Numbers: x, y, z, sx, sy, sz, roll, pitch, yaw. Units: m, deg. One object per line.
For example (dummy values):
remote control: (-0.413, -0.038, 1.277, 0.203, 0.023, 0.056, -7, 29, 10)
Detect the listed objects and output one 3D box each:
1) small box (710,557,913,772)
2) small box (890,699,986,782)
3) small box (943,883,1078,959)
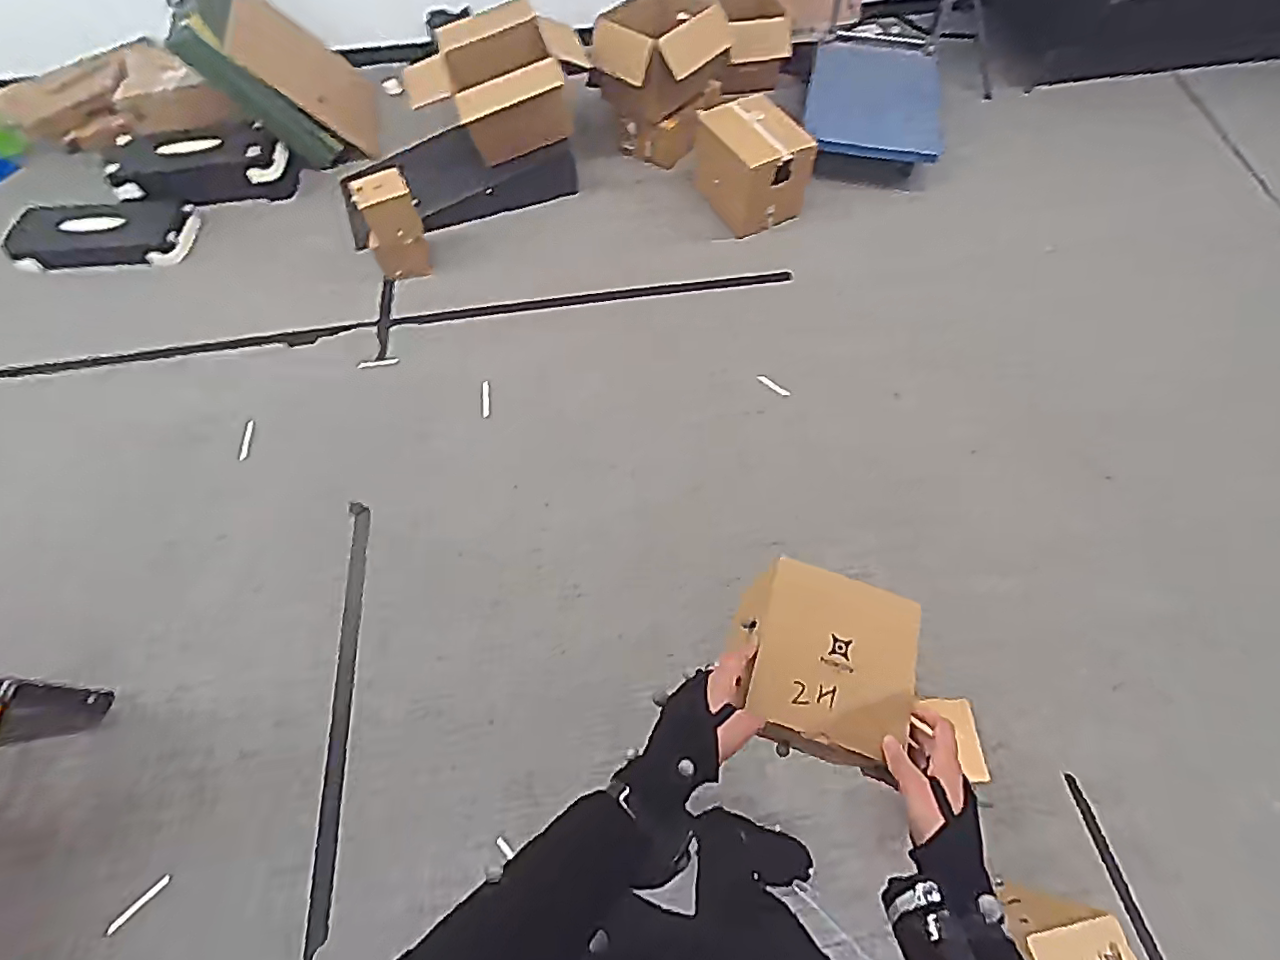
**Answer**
small box: (0.192, 0.219, 0.638, 0.168, 0.176, 0.179, 19, 65, 4)
small box: (0.702, 0.640, 1.328, 0.168, 0.176, 0.179, -1, 61, 0)
small box: (0.784, 0.982, 1.146, 0.168, 0.176, 0.179, -9, 64, -4)
